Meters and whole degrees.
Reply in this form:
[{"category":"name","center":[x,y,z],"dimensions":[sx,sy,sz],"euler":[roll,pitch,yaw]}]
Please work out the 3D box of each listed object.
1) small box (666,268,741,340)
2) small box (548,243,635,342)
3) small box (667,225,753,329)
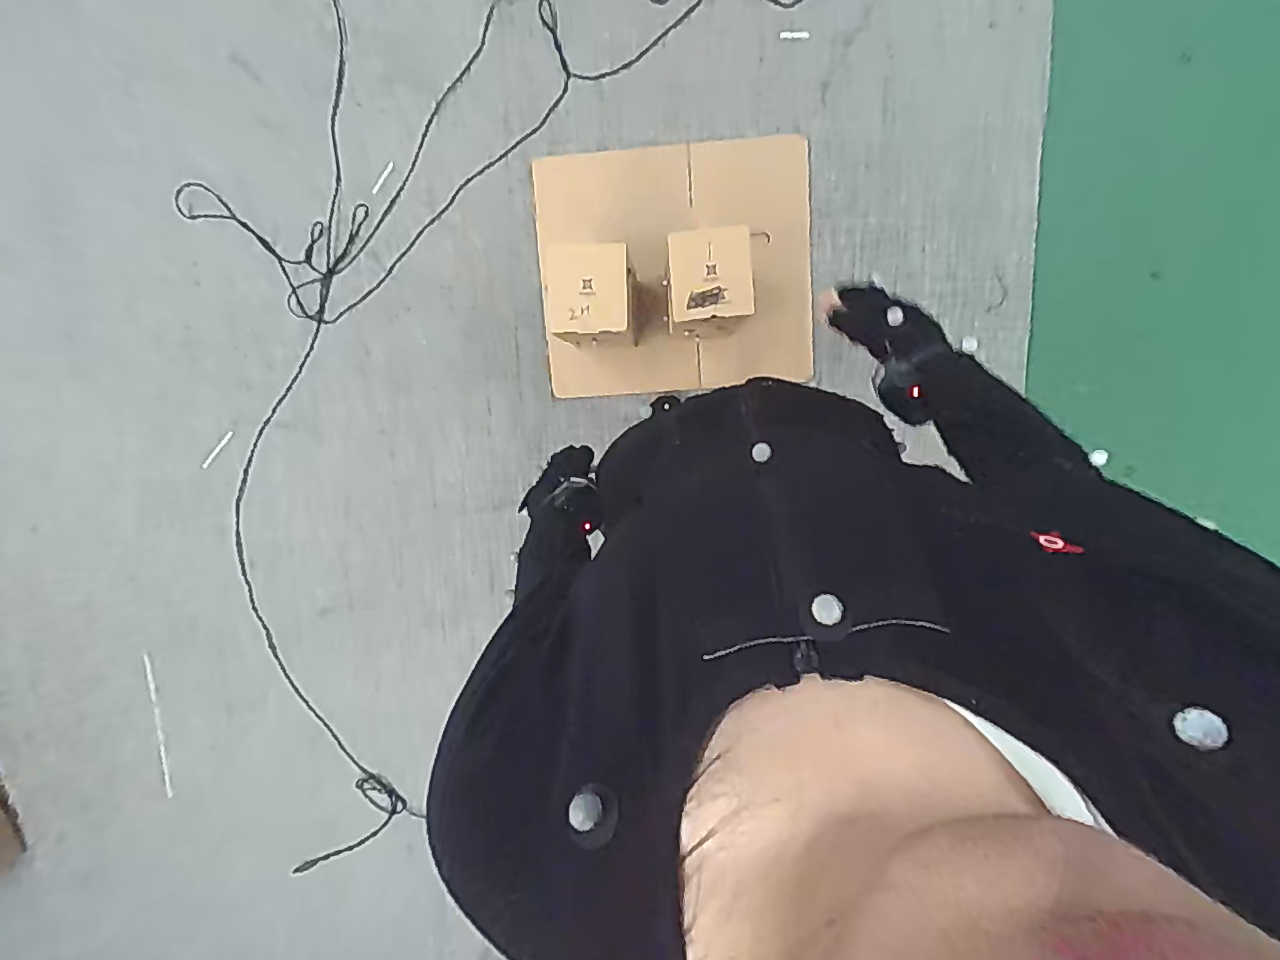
[{"category":"small box","center":[0.152,-0.446,1.324],"dimensions":[0.168,0.176,0.179],"euler":[-4,99,3]},{"category":"small box","center":[-0.101,-0.400,1.174],"dimensions":[0.168,0.176,0.179],"euler":[0,99,4]},{"category":"small box","center":[0.146,-0.425,1.161],"dimensions":[0.168,0.176,0.179],"euler":[-5,98,3]}]
